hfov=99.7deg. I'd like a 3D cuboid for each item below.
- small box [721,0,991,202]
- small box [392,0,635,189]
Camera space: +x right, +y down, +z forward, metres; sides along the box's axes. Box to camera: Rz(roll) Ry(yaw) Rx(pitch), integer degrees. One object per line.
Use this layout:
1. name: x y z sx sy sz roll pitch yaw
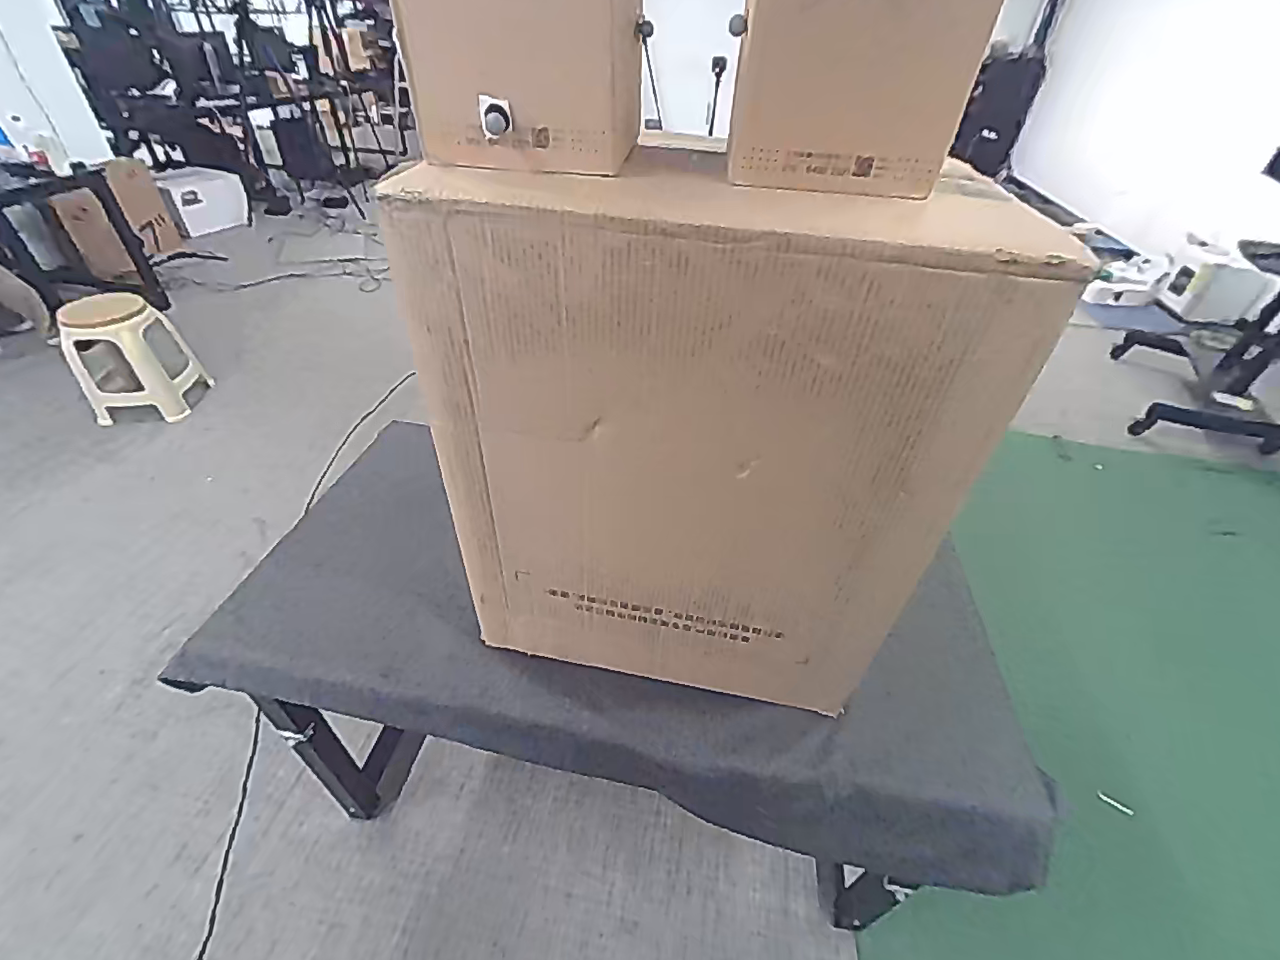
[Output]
1. small box: 0.159 -0.350 0.451 0.168 0.176 0.179 5 42 4
2. small box: -0.094 -0.367 0.464 0.168 0.176 0.179 3 43 5
